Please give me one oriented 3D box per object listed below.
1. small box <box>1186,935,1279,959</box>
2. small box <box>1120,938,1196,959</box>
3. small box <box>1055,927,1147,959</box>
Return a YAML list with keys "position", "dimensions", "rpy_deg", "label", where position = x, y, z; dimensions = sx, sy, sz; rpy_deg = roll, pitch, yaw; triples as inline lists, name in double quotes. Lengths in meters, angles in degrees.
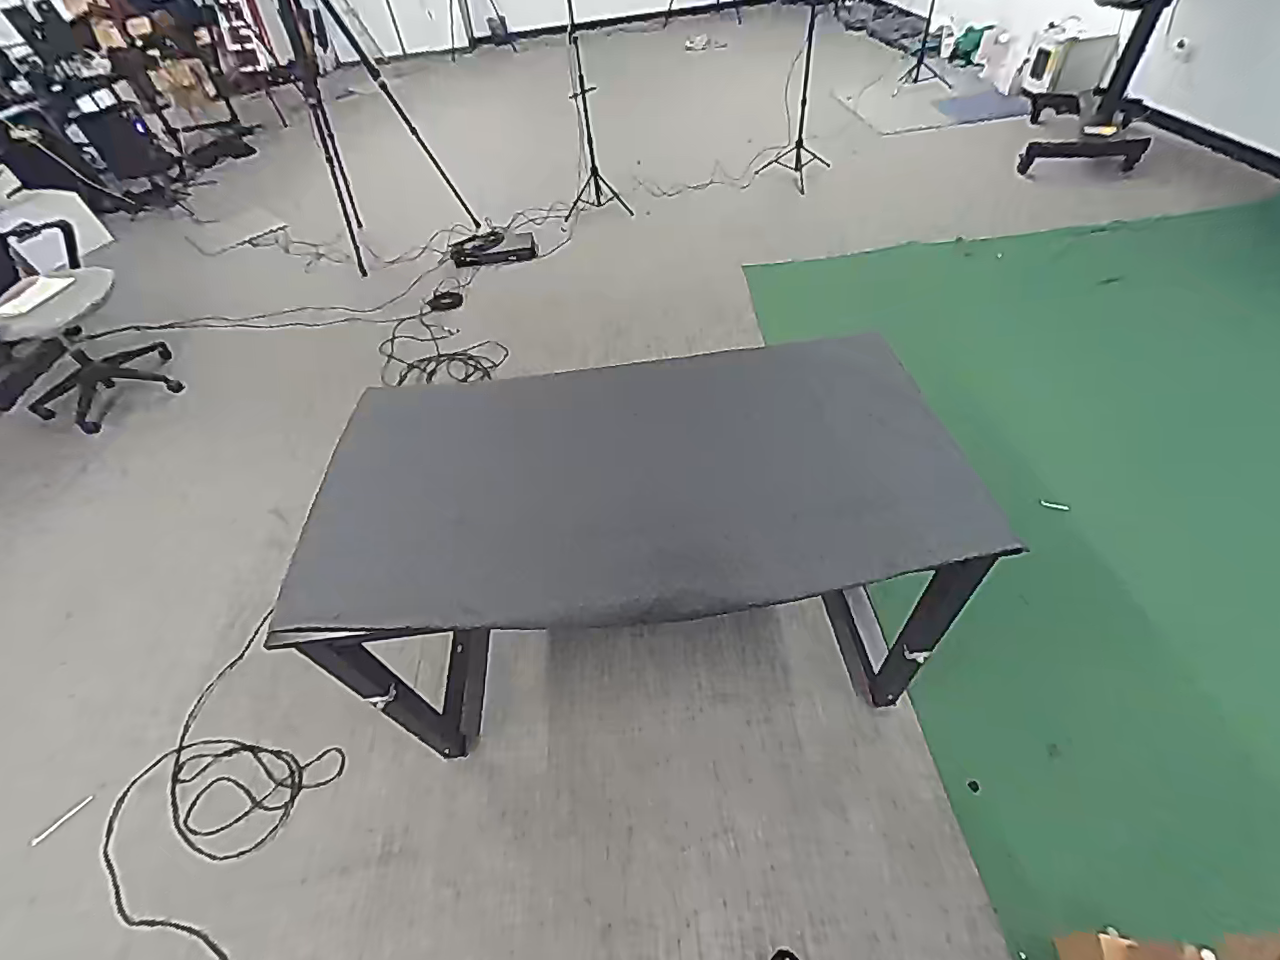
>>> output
- position: [0.839, 0.722, 0.691]
  dimensions: [0.168, 0.176, 0.179]
  rpy_deg: [-25, 50, -13]
  label: "small box"
- position: [0.855, 0.836, 0.809]
  dimensions: [0.179, 0.176, 0.168]
  rpy_deg: [24, 57, 24]
  label: "small box"
- position: [0.874, 0.917, 0.952]
  dimensions: [0.179, 0.176, 0.168]
  rpy_deg: [6, 51, 12]
  label: "small box"
